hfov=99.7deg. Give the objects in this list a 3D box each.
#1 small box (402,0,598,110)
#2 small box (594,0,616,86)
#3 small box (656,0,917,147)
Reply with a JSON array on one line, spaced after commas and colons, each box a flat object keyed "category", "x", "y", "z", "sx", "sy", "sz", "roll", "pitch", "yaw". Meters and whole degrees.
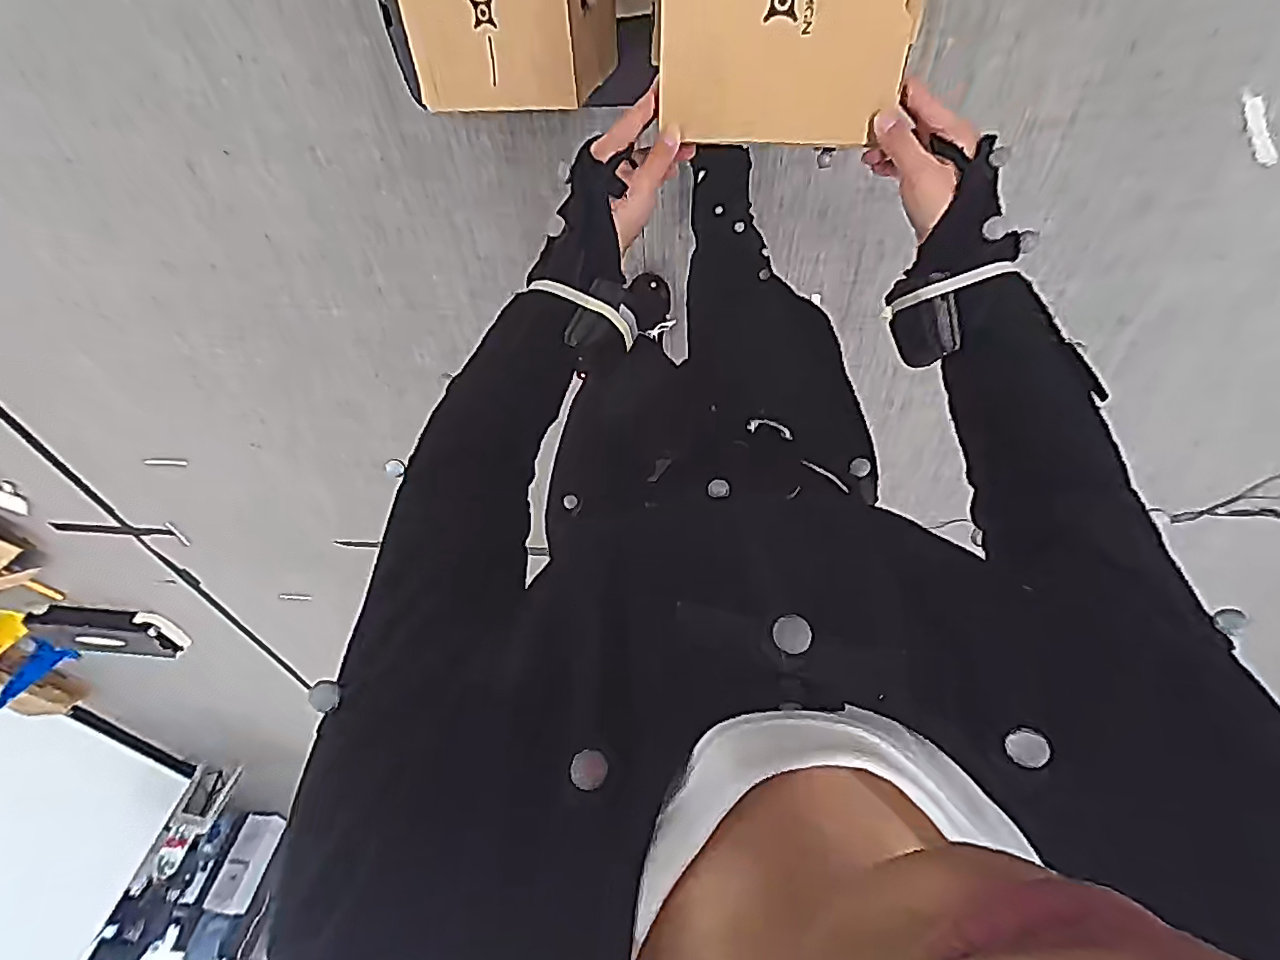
[{"category": "small box", "x": -0.139, "y": -0.506, "z": 0.565, "sx": 0.168, "sy": 0.176, "sz": 0.179, "roll": 2, "pitch": 135, "yaw": 4}, {"category": "small box", "x": -0.123, "y": -0.619, "z": 0.683, "sx": 0.168, "sy": 0.176, "sz": 0.179, "roll": 3, "pitch": 135, "yaw": 4}, {"category": "small box", "x": 0.106, "y": -0.368, "z": 0.436, "sx": 0.179, "sy": 0.176, "sz": 0.168, "roll": 2, "pitch": 122, "yaw": 3}]
